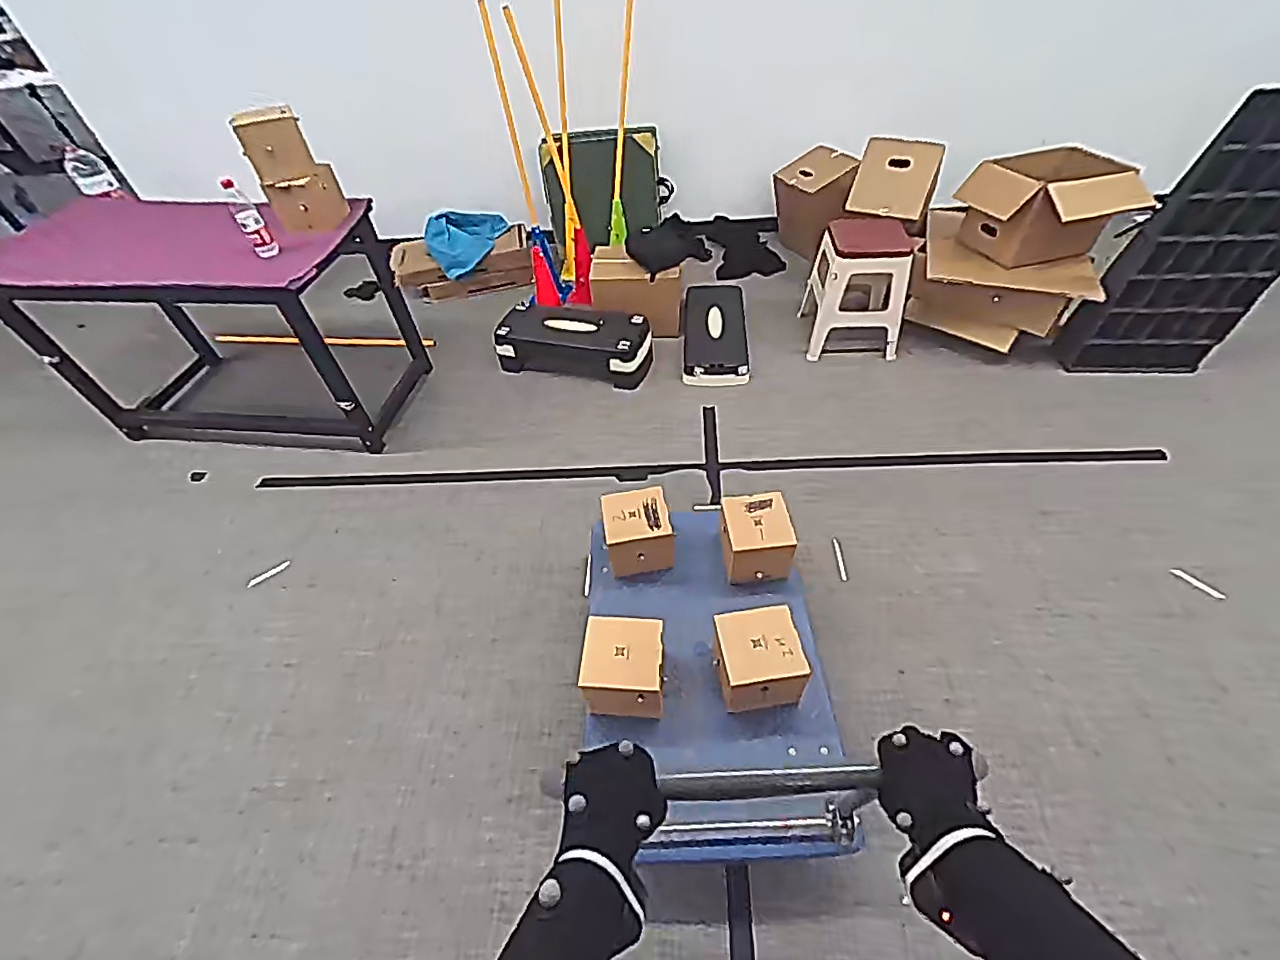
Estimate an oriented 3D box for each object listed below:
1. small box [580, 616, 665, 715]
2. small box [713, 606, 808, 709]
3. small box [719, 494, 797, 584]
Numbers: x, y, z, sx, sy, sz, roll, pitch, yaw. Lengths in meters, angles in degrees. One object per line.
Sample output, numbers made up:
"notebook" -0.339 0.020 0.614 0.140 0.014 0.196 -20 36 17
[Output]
"small box" -0.034 0.435 1.263 0.179 0.176 0.168 2 49 5
"small box" 0.270 0.416 1.254 0.179 0.176 0.168 -8 49 -2
"small box" 0.313 0.161 1.475 0.168 0.176 0.179 -6 50 0
